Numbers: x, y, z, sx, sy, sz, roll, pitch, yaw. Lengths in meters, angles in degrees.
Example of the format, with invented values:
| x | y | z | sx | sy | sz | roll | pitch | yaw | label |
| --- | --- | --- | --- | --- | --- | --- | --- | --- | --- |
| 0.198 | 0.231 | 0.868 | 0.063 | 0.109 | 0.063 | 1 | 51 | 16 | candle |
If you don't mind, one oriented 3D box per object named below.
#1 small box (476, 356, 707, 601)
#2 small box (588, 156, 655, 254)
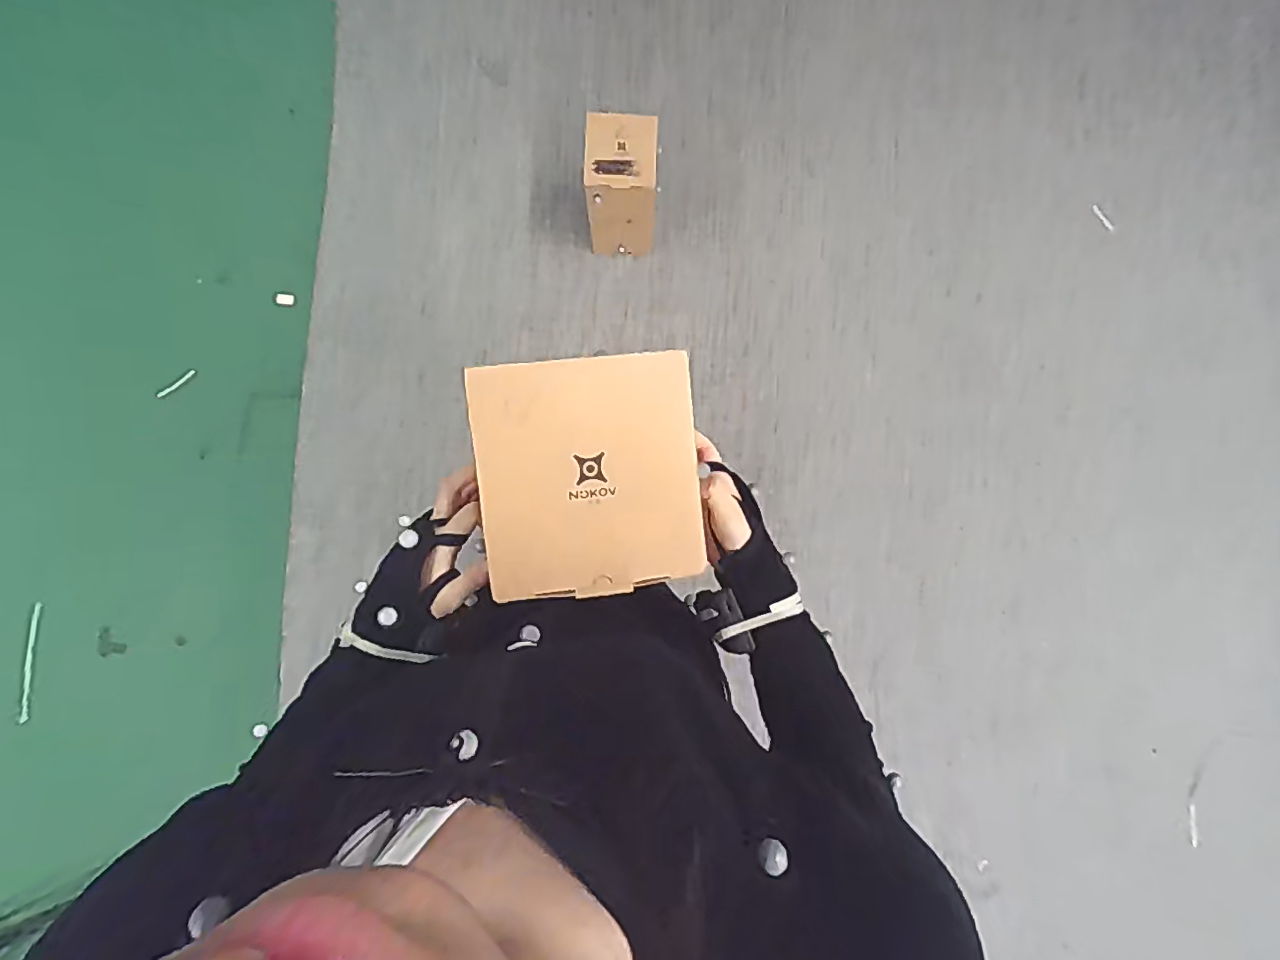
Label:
| x | y | z | sx | sy | sz | roll | pitch | yaw | label |
| --- | --- | --- | --- | --- | --- | --- | --- | --- | --- |
| -0.045 | -0.008 | 0.492 | 0.168 | 0.176 | 0.179 | -7 | 96 | -7 | small box |
| -0.050 | -0.743 | 1.472 | 0.168 | 0.176 | 0.179 | 3 | 88 | -1 | small box |
